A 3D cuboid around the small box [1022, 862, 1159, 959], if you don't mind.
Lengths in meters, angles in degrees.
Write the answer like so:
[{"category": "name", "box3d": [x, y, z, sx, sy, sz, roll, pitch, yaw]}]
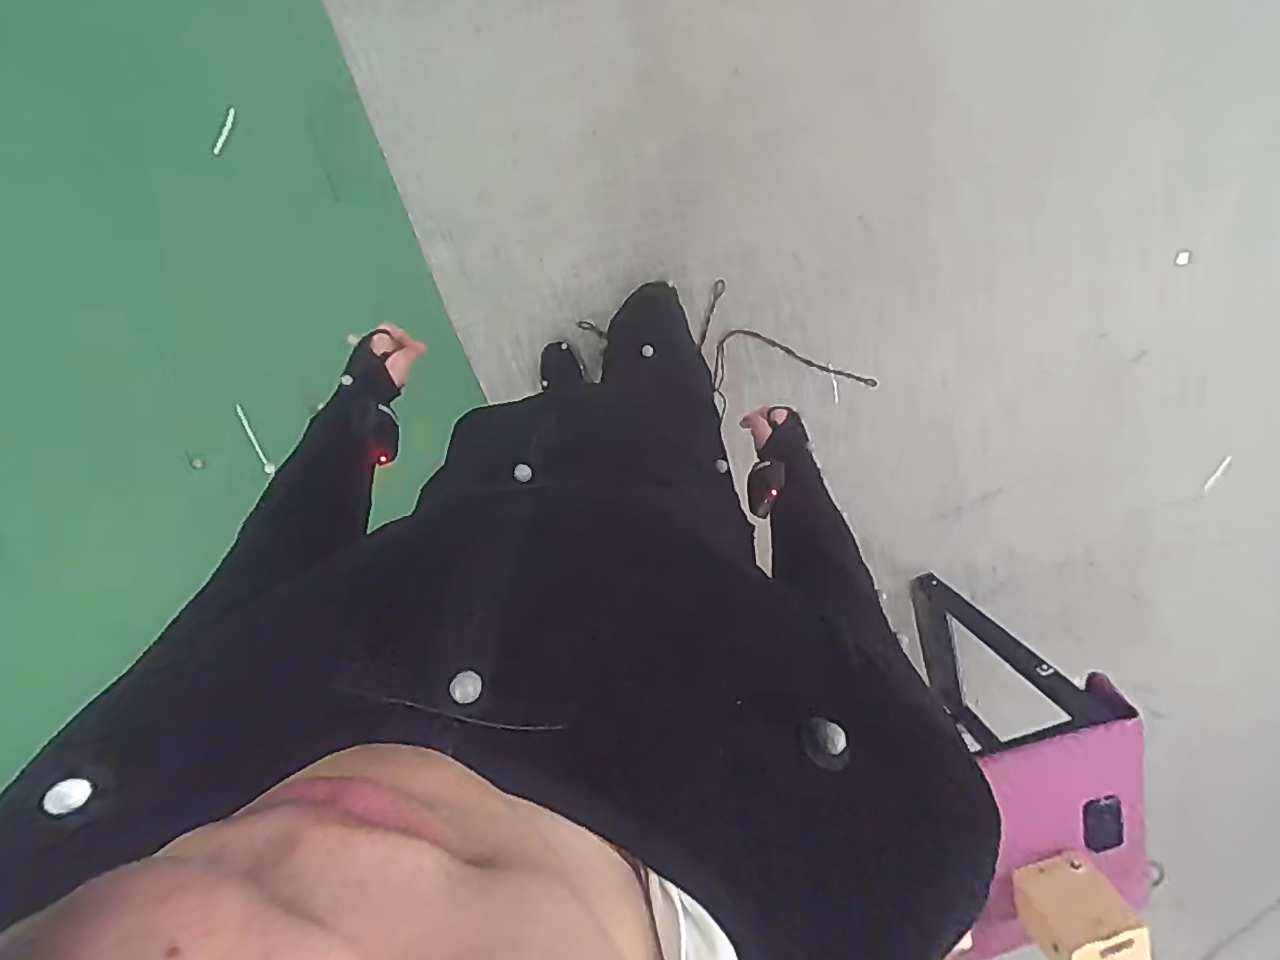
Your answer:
[{"category": "small box", "box3d": [0.970, 0.973, 1.175, 0.168, 0.176, 0.179, -20, 108, 2]}]
